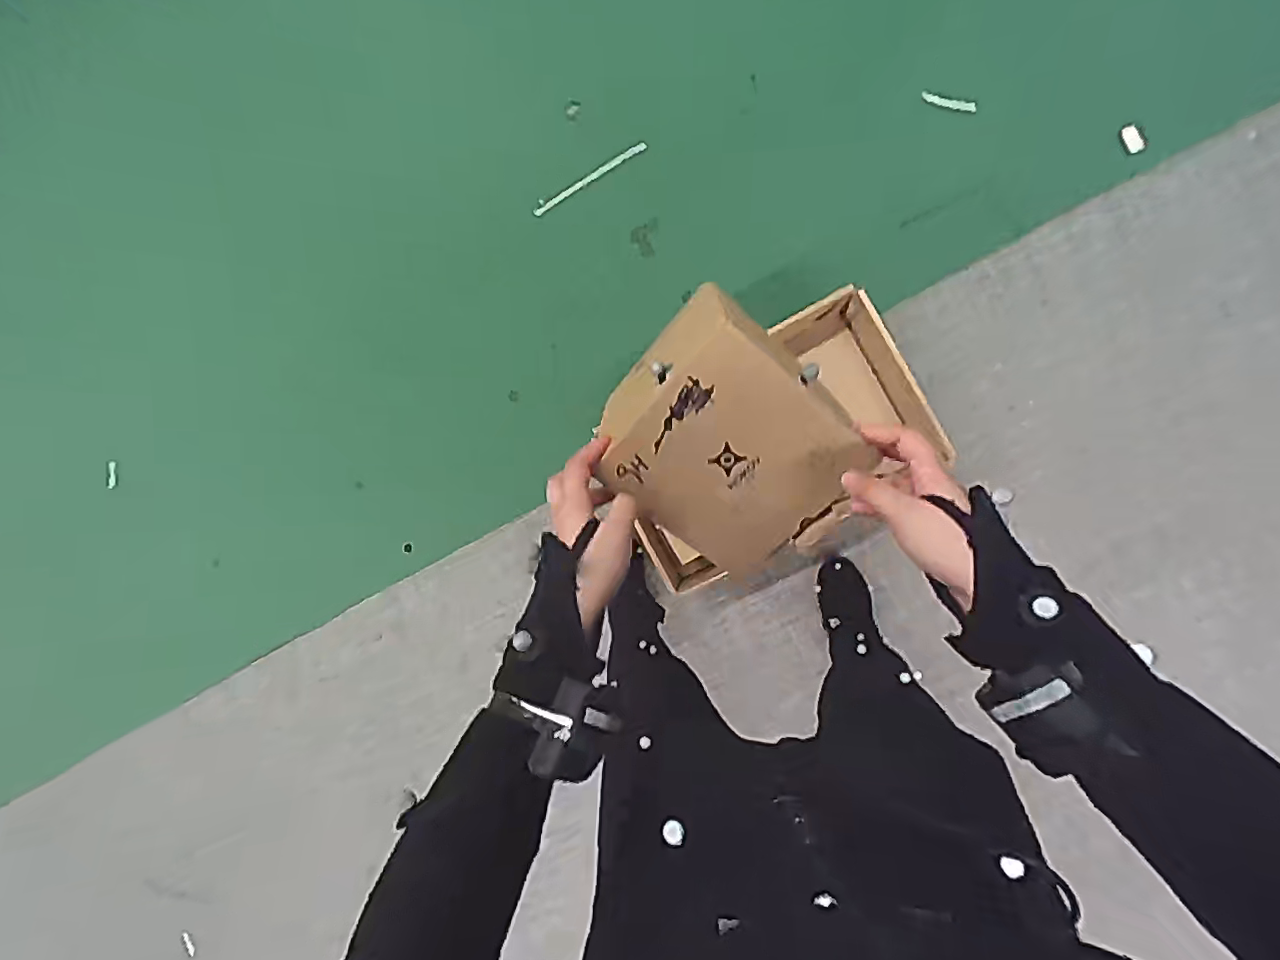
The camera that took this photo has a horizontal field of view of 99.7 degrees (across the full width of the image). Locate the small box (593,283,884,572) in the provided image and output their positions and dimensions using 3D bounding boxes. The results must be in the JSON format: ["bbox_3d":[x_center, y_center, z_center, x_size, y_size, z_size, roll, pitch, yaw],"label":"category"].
[{"bbox_3d":[0.081,-0.056,0.500,0.179,0.176,0.168,37,115,-17],"label":"small box"}]
